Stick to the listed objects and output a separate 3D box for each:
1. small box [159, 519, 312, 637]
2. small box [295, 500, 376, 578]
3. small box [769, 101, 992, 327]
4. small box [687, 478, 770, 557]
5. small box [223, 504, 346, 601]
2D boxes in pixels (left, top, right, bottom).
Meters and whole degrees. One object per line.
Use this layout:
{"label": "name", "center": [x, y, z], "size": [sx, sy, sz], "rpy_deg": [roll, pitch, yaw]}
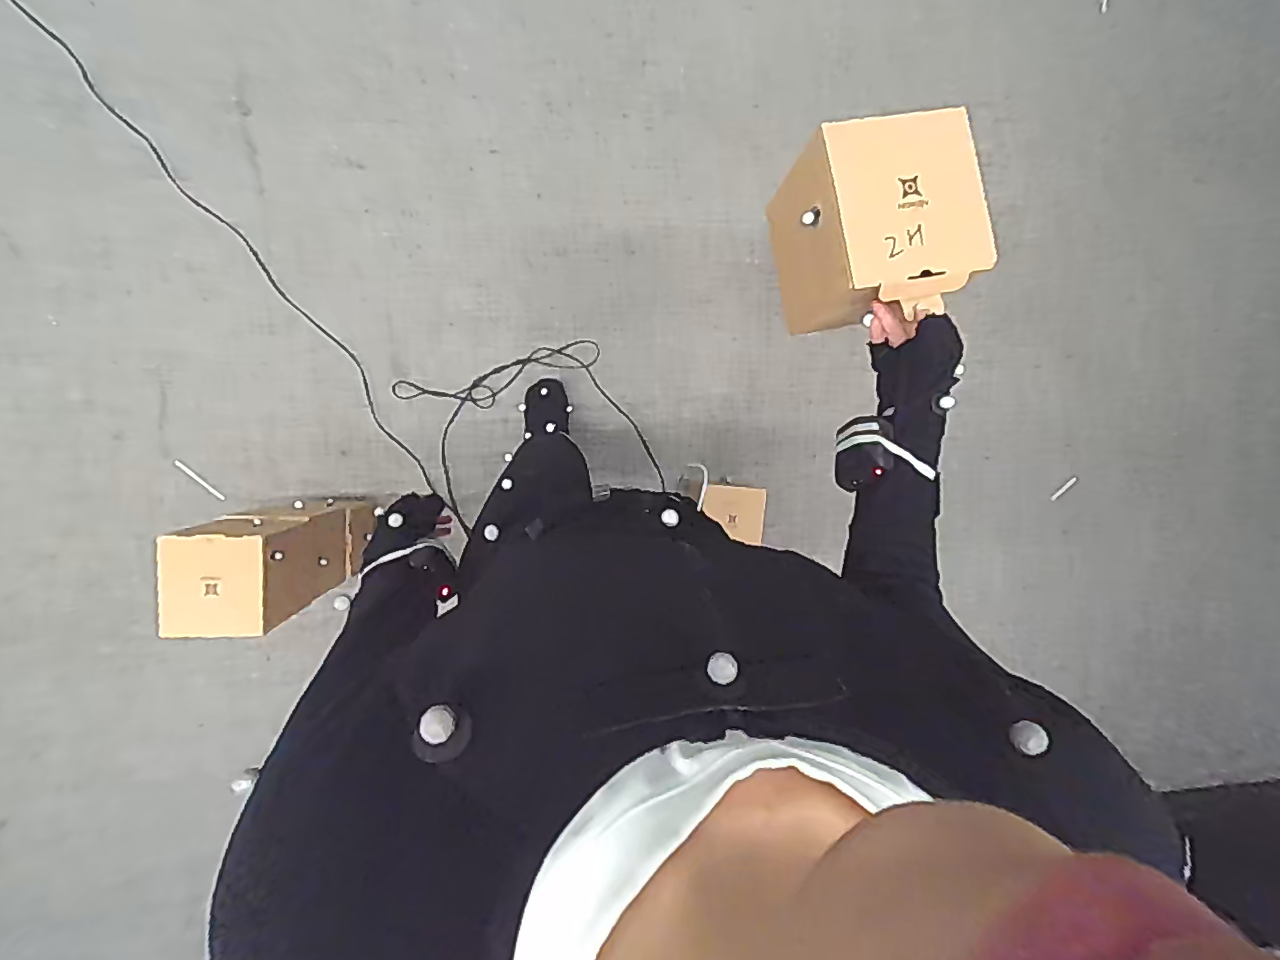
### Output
{"label": "small box", "center": [-0.723, 0.172, 0.985], "size": [0.168, 0.176, 0.179], "rpy_deg": [1, 94, -7]}
{"label": "small box", "center": [-0.755, 0.138, 1.309], "size": [0.179, 0.176, 0.168], "rpy_deg": [1, 94, -7]}
{"label": "small box", "center": [0.267, -0.300, 0.639], "size": [0.168, 0.176, 0.179], "rpy_deg": [-11, 91, -7]}
{"label": "small box", "center": [0.225, 0.094, 1.419], "size": [0.168, 0.176, 0.179], "rpy_deg": [5, 94, -8]}
{"label": "small box", "center": [-0.742, 0.150, 1.145], "size": [0.168, 0.176, 0.179], "rpy_deg": [2, 94, -7]}
